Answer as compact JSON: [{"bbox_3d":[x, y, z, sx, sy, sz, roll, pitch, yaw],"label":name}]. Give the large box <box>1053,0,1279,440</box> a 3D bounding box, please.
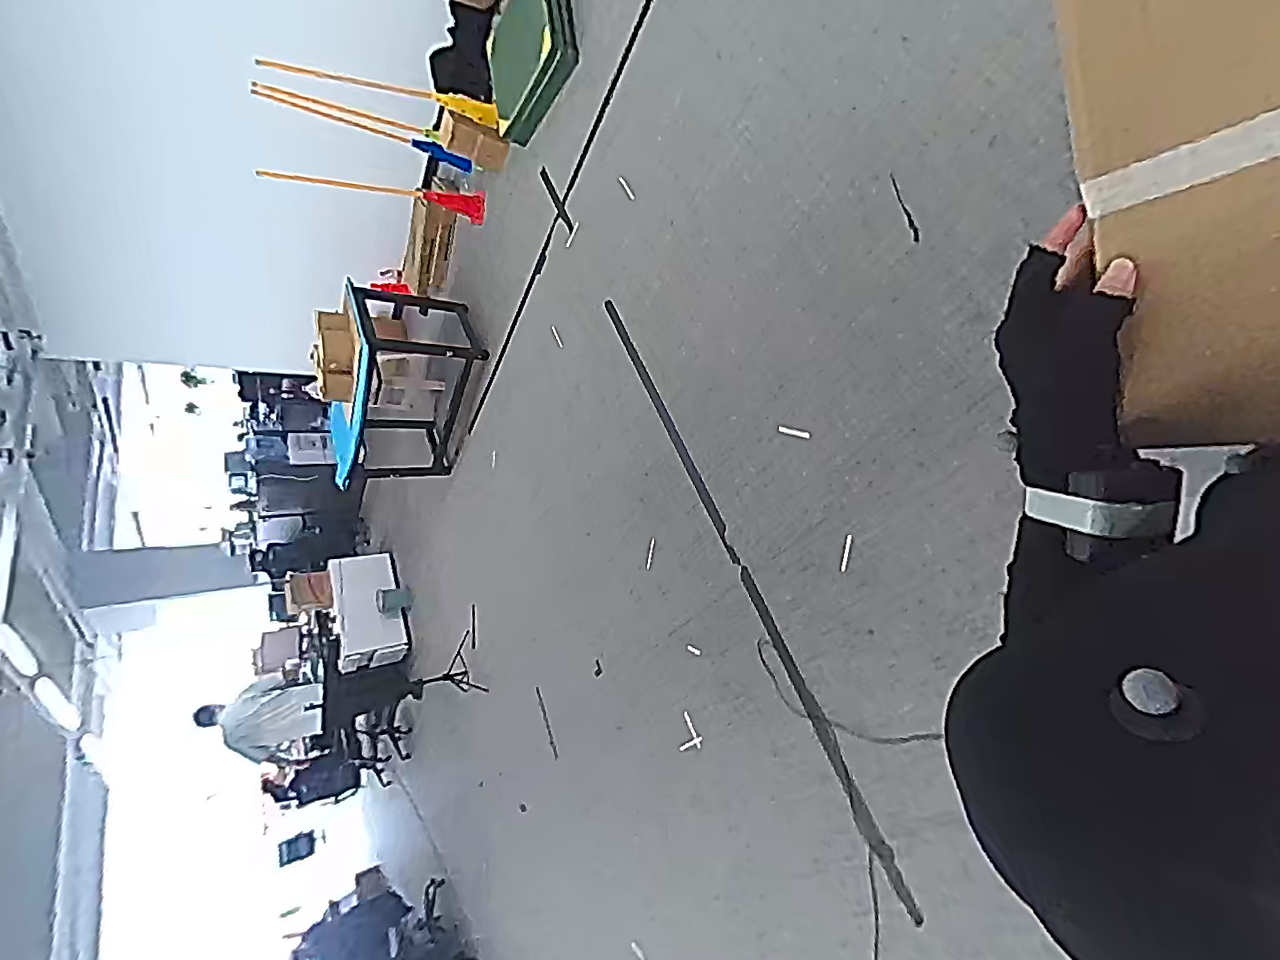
[{"bbox_3d":[0.498,-0.224,0.251,0.408,0.320,0.320,-1,110,55],"label":"large box"}]
